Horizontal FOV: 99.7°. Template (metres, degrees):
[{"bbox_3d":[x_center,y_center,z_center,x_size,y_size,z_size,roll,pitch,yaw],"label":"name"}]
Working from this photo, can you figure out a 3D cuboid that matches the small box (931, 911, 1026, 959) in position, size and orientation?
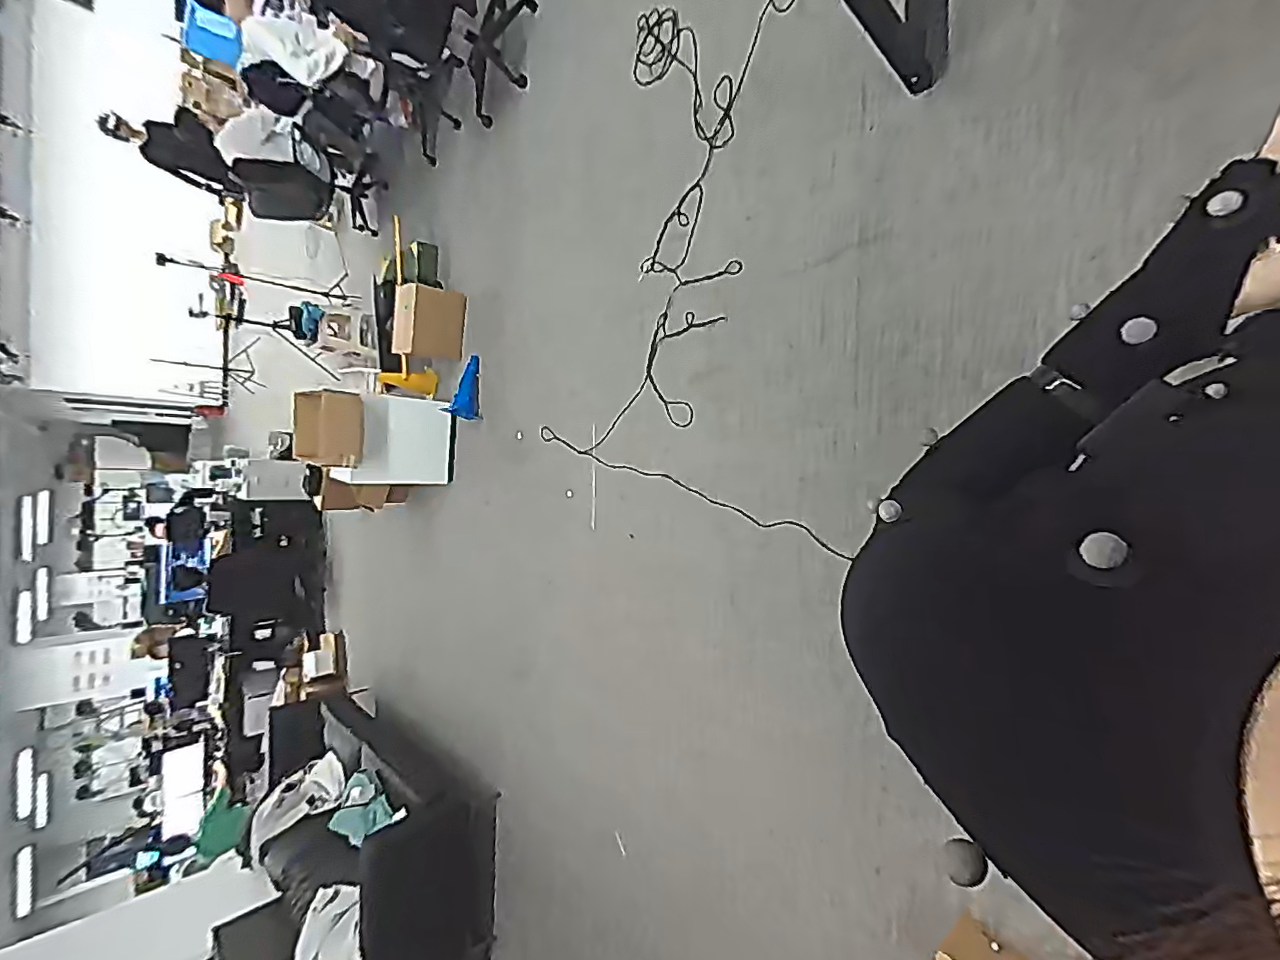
[{"bbox_3d":[0.784,1.180,1.263,0.168,0.176,0.179,16,101,44],"label":"small box"}]
